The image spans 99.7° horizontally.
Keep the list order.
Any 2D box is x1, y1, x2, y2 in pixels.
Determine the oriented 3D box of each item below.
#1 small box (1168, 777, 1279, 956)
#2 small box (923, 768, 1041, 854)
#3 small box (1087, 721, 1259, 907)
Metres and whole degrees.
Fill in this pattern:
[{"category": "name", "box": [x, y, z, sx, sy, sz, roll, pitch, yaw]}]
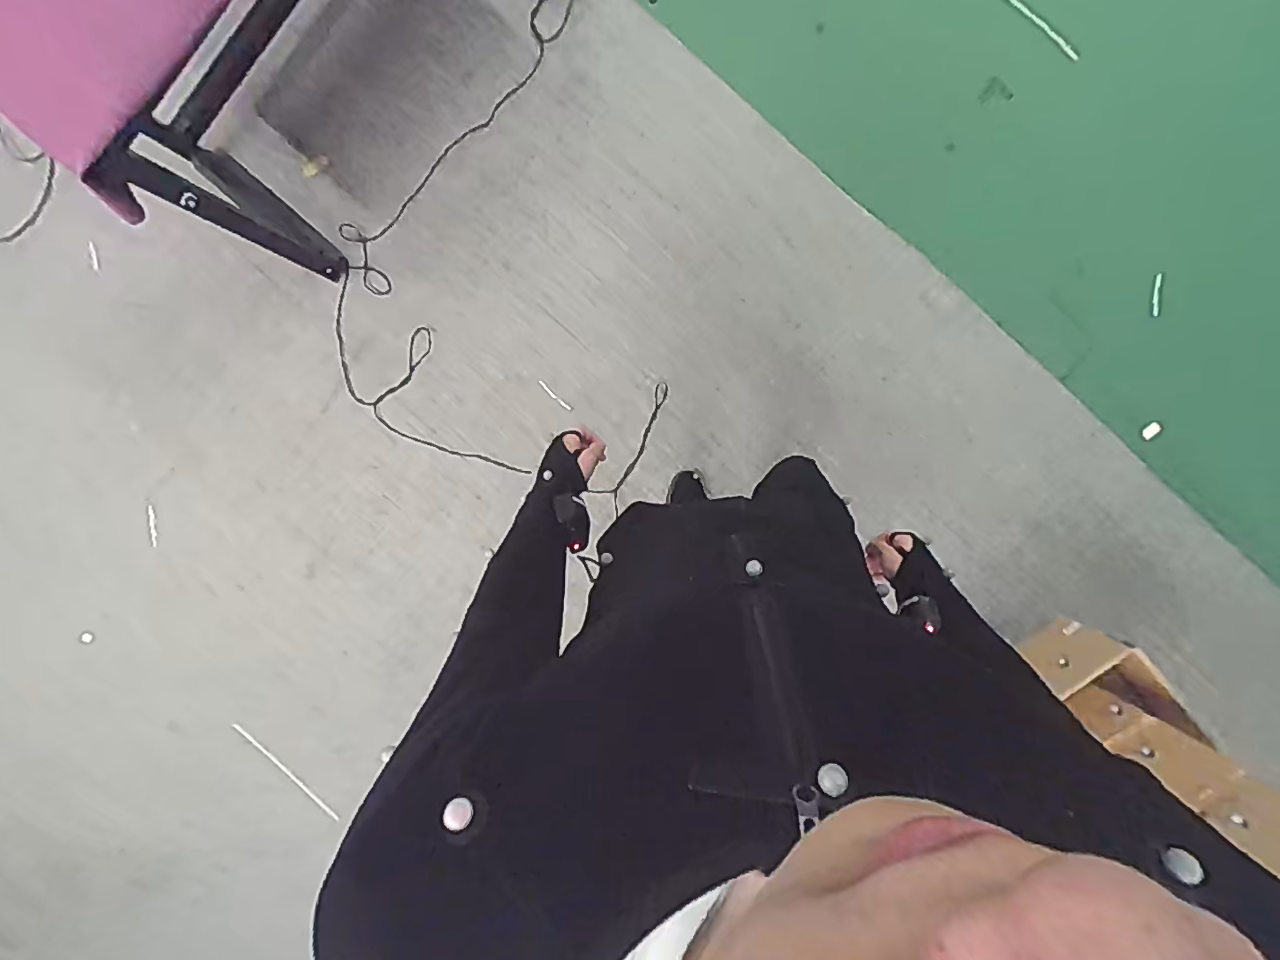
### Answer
[{"category": "small box", "box": [0.931, 0.570, 0.761, 0.168, 0.176, 0.179, -38, 90, 5]}, {"category": "small box", "box": [0.728, 0.734, 1.115, 0.168, 0.176, 0.179, -39, 90, 6]}, {"category": "small box", "box": [0.941, 0.557, 0.926, 0.168, 0.176, 0.179, -39, 90, 6]}]
